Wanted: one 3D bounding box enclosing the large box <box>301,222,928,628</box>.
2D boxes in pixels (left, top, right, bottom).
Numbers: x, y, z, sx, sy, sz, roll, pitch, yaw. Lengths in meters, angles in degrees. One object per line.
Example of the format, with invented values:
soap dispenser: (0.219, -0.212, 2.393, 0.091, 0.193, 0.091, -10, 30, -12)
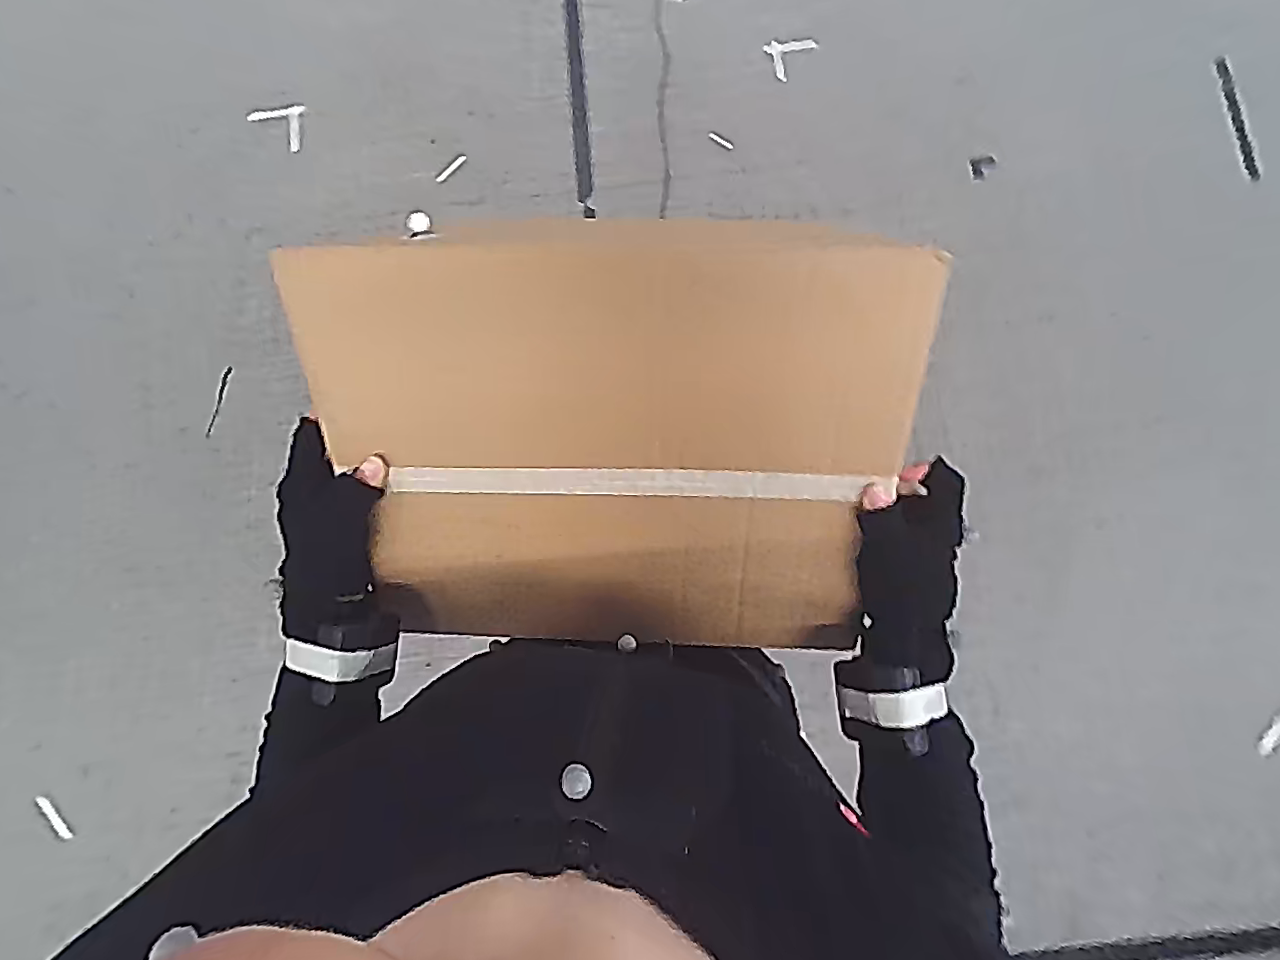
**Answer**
large box: (-0.014, -0.079, 0.536, 0.408, 0.320, 0.320, 1, 119, 3)
